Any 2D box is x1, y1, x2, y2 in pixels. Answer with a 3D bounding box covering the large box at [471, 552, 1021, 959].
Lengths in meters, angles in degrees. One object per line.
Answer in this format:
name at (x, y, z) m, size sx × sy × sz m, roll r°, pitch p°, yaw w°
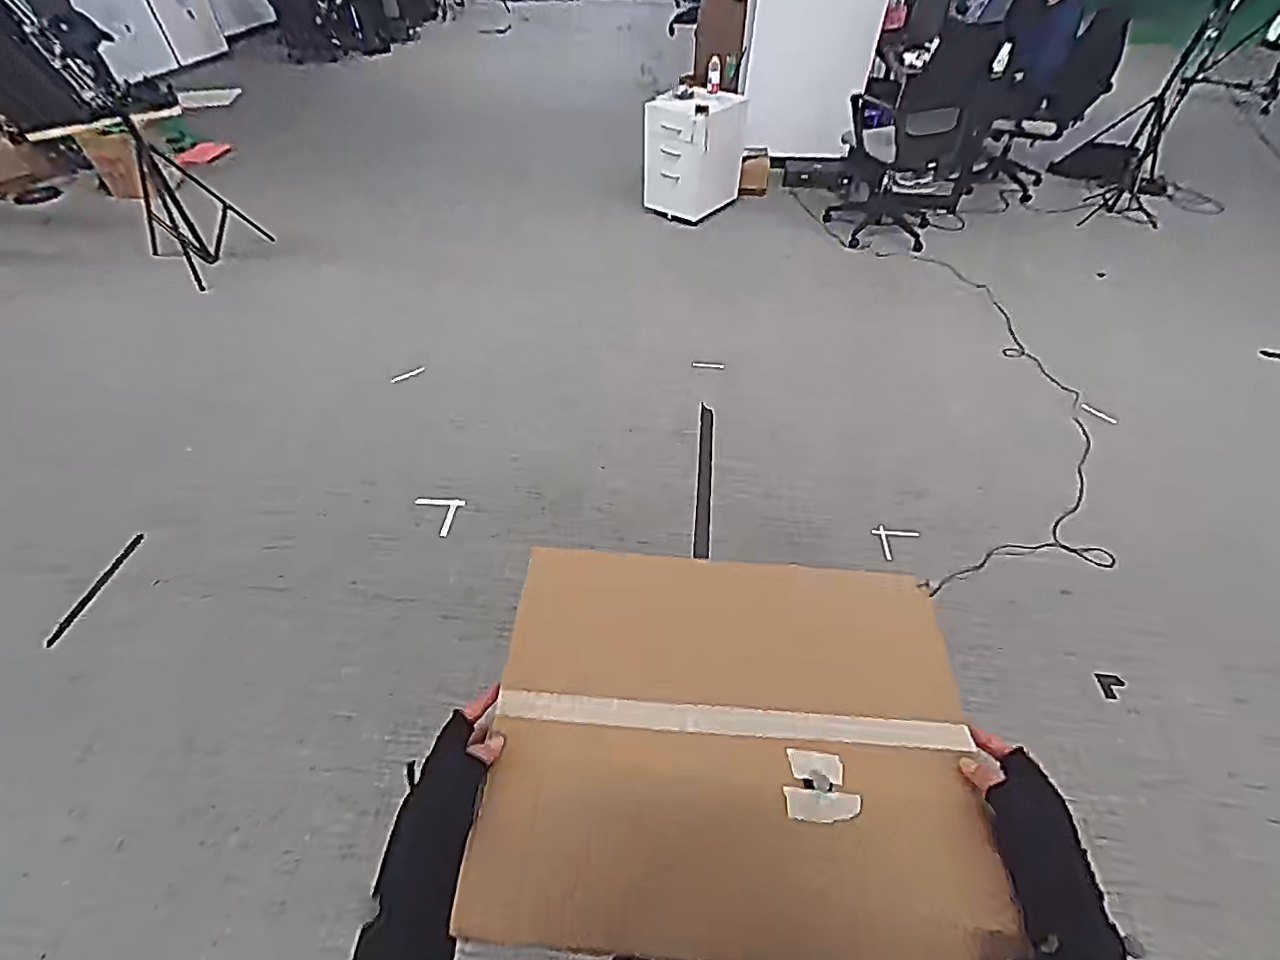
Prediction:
large box at (0.078, 0.300, 0.591) m, size 0.408 × 0.320 × 0.320 m, roll 5°, pitch 53°, yaw 1°
